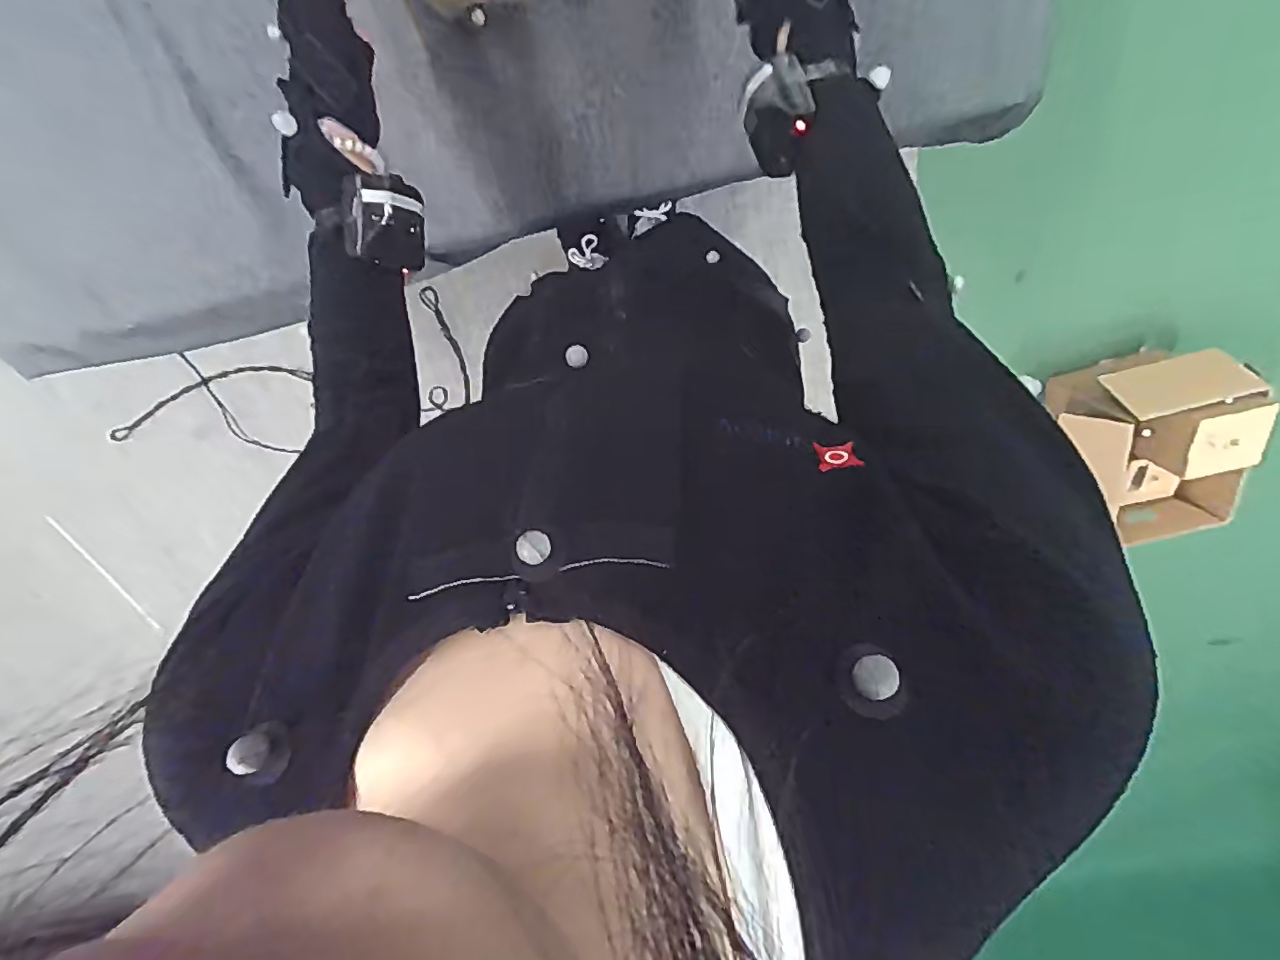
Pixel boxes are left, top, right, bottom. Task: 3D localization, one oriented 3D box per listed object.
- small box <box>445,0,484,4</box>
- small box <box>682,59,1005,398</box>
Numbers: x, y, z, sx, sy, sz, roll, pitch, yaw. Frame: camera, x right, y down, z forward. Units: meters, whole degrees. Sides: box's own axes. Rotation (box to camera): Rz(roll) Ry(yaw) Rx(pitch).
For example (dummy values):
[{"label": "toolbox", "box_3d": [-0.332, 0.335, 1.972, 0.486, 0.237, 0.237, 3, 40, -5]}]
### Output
[{"label": "small box", "box_3d": [-0.121, -0.490, 0.399, 0.168, 0.176, 0.179, -13, 120, 5]}, {"label": "small box", "box_3d": [0.154, -0.207, 0.446, 0.176, 0.168, 0.179, -35, 146, -20]}]
